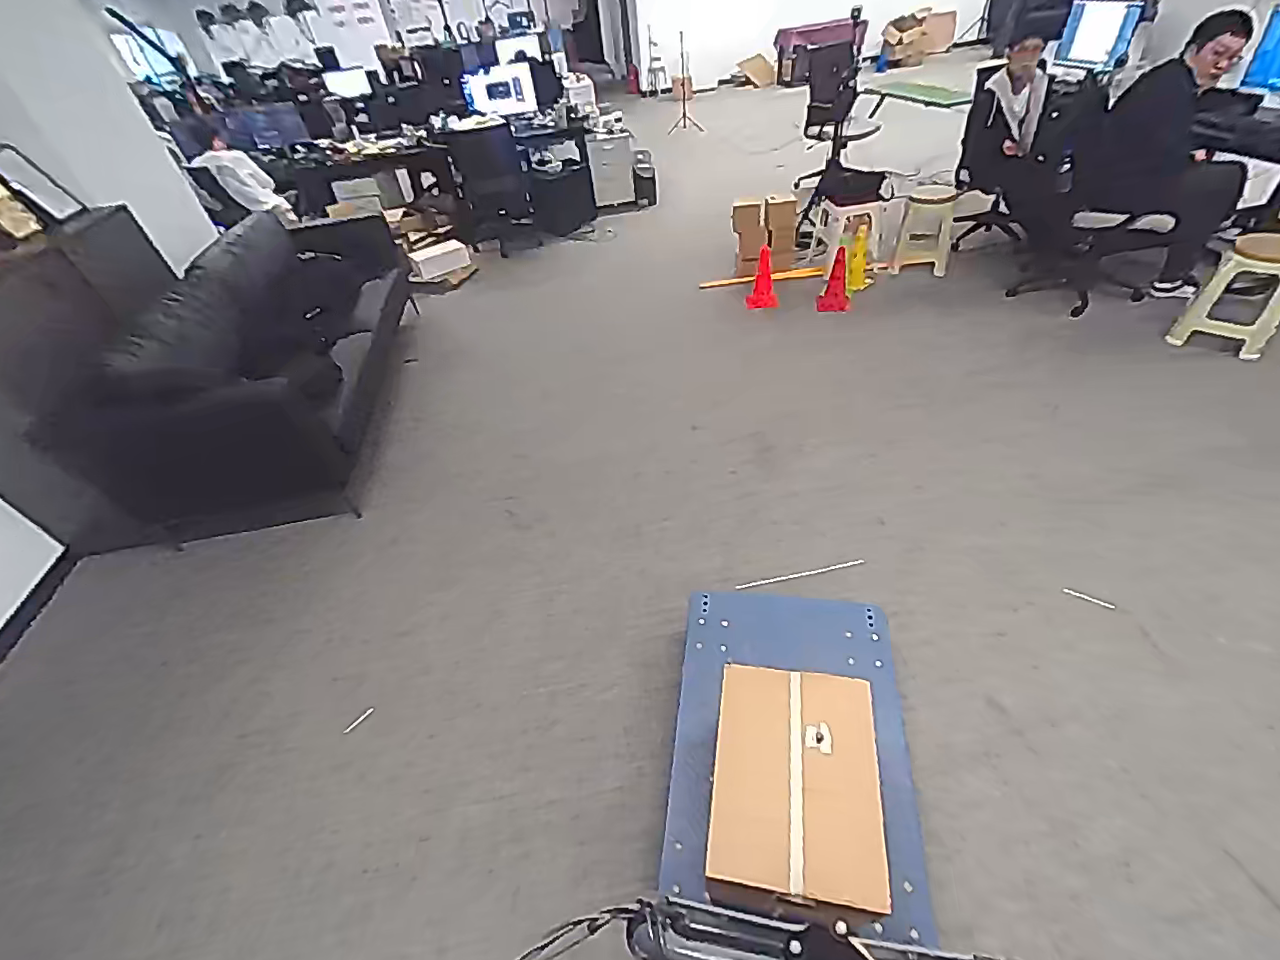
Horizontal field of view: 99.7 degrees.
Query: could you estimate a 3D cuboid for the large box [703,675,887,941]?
[{"bbox_3d":[0.315,0.696,1.168,0.320,0.320,0.408,4,46,12],"label":"large box"}]
